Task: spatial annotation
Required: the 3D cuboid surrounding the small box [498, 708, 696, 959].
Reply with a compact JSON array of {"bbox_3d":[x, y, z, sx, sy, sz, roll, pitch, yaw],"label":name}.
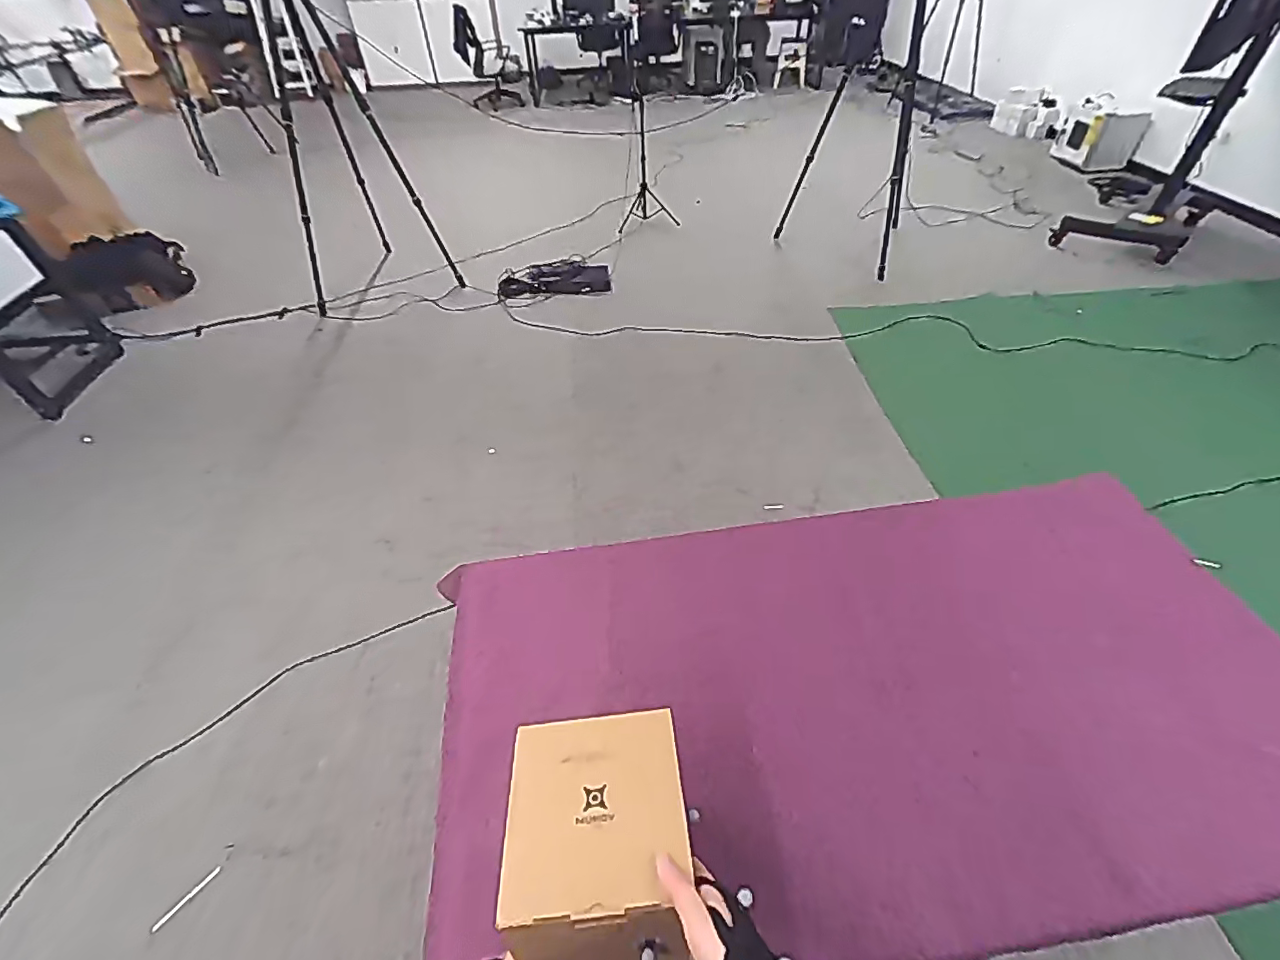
[{"bbox_3d":[-0.036,0.368,0.554,0.168,0.176,0.179,-5,34,-2],"label":"small box"}]
